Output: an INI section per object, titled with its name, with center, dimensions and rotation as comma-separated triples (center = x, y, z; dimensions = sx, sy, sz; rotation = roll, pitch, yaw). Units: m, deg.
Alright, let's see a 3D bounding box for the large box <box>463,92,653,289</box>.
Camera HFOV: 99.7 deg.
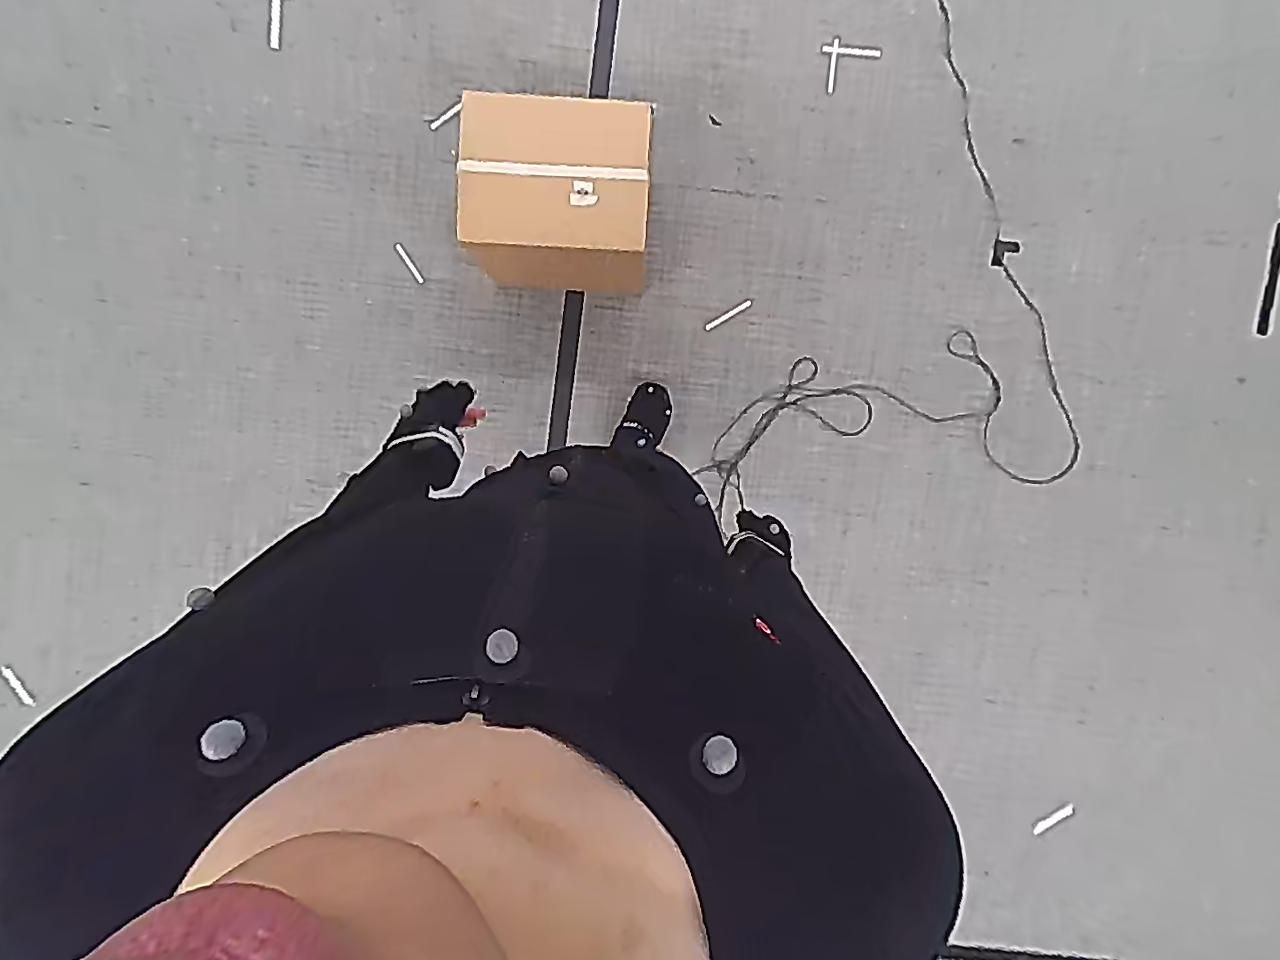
[large box]
center = -0.180, -0.665, 1.297
dimensions = 0.408, 0.320, 0.320
rotation = 3, 93, -1
